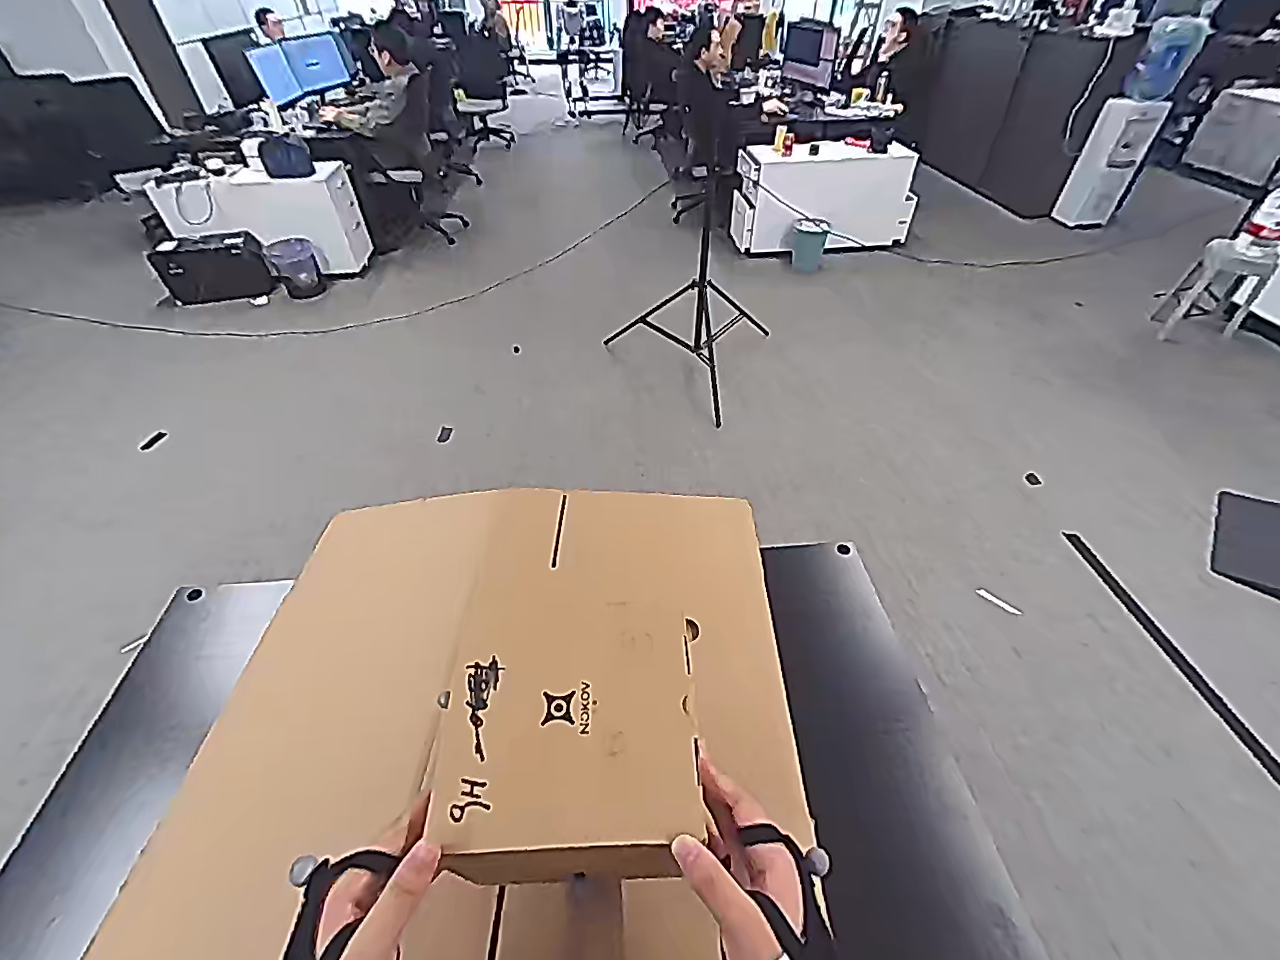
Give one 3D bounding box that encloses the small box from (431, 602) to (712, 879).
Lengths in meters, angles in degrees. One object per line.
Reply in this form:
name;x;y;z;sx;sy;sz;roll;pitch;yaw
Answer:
small box;-0.047;0.215;0.445;0.179;0.176;0.168;-1;47;-3
